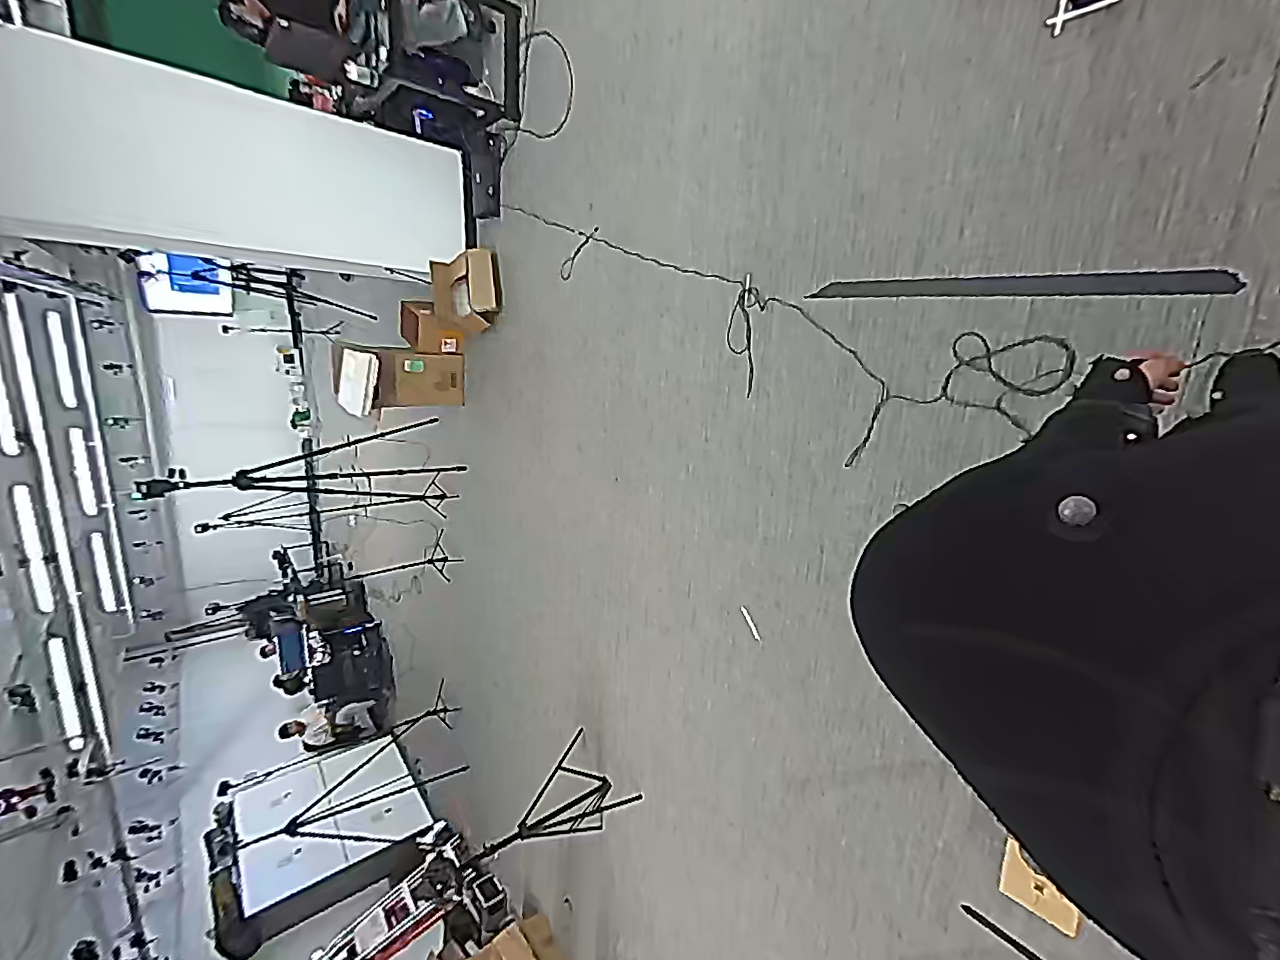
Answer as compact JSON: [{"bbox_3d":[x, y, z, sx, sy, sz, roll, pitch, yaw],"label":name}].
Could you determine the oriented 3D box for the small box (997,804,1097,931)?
[{"bbox_3d":[1.071,1.005,1.422,0.168,0.176,0.179,15,109,49],"label":"small box"}]
